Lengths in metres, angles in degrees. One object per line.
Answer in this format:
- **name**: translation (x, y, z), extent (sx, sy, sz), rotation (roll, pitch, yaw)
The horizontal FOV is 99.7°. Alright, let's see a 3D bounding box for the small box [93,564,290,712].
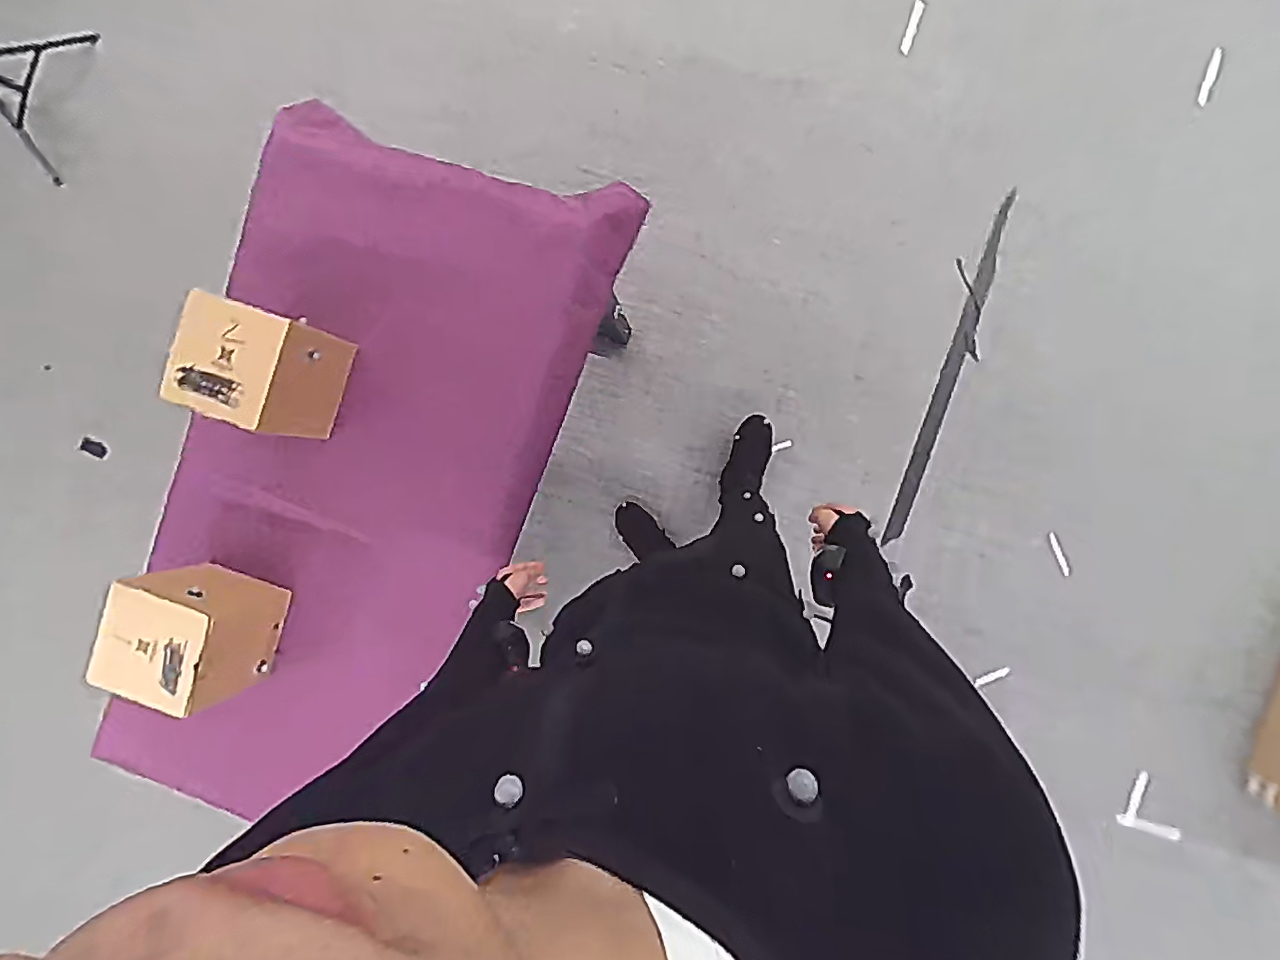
- **small box**: translation (-0.733, 0.250, 0.904), extent (0.179, 0.176, 0.168), rotation (17, 92, 5)
